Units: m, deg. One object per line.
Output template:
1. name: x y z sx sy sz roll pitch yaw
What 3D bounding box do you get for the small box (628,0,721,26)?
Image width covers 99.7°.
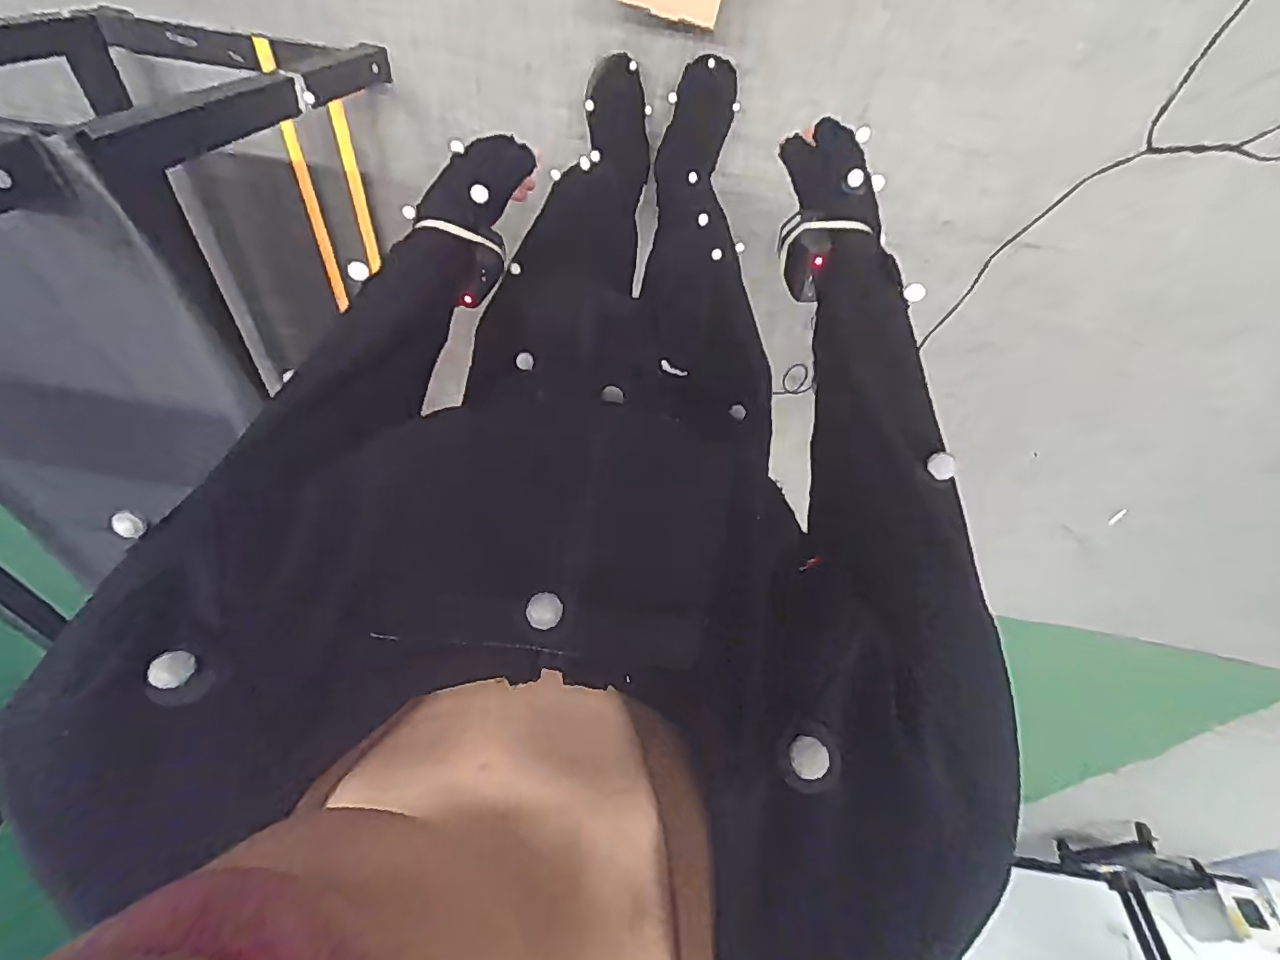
1. small box: 0.067 -0.857 0.852 0.168 0.176 0.179 14 136 -3
